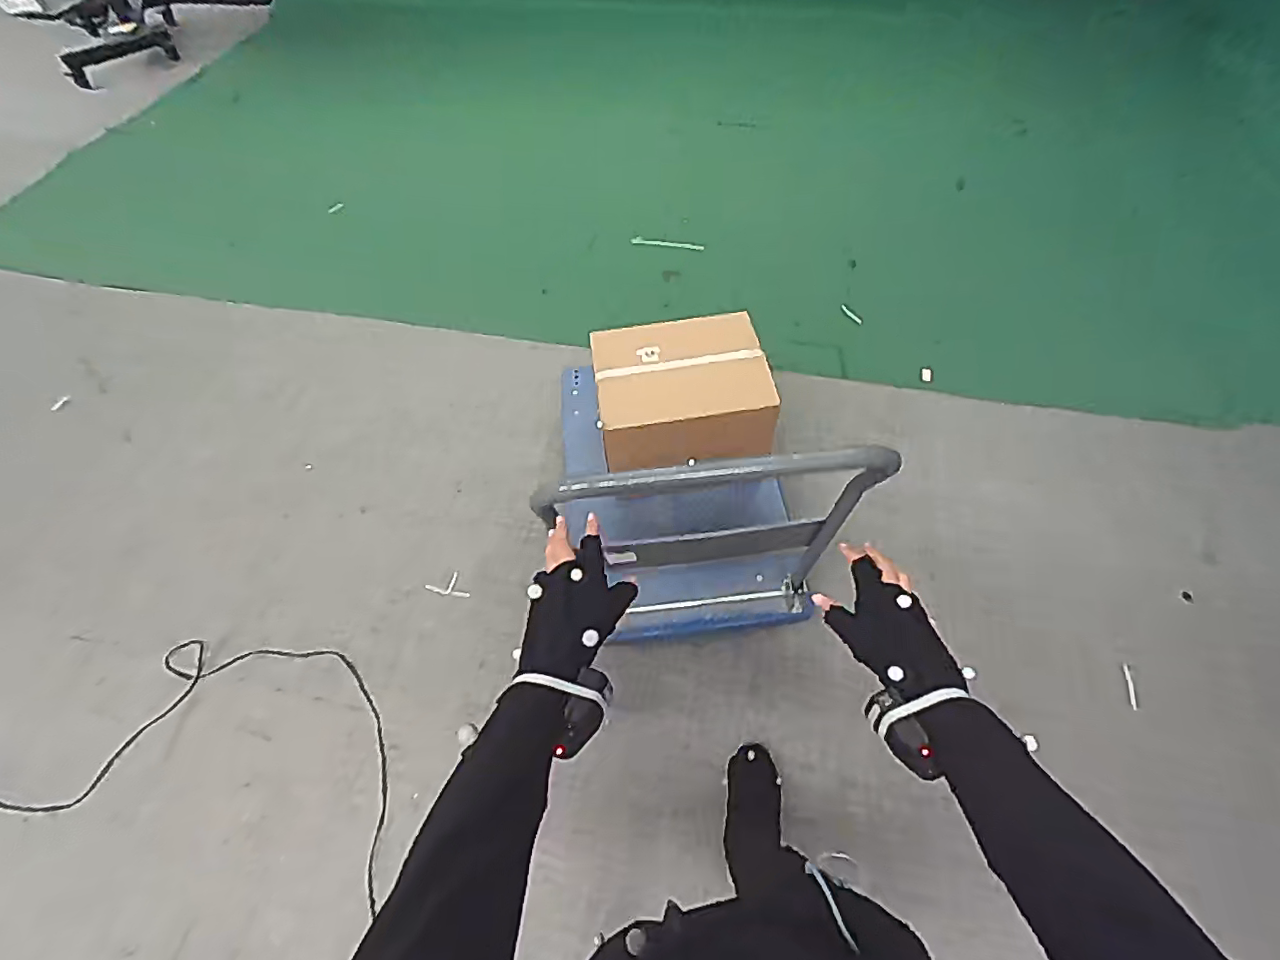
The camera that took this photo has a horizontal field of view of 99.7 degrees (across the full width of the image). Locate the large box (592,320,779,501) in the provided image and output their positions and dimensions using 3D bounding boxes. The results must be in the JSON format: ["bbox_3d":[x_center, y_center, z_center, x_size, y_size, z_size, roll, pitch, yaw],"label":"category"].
[{"bbox_3d":[0.107,-0.173,1.416,0.408,0.320,0.320,-9,57,-2],"label":"large box"}]
